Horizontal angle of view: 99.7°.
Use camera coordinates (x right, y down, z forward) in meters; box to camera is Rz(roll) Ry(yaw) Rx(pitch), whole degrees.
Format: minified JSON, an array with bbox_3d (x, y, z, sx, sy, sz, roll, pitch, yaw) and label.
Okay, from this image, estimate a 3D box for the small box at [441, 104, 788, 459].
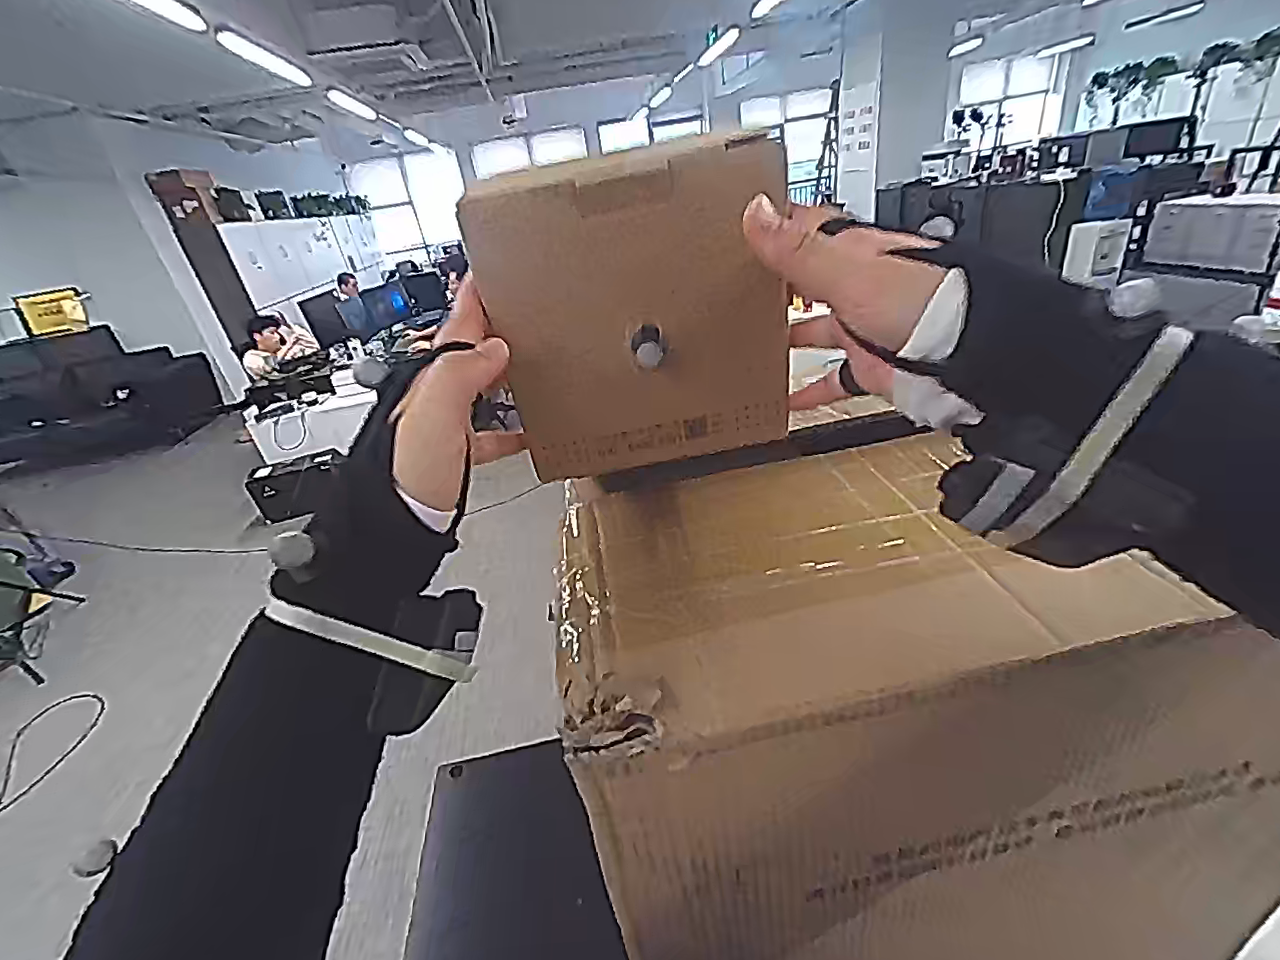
[{"bbox_3d":[-0.007,-0.128,0.357,0.168,0.176,0.179,-12,36,0],"label":"small box"}]
